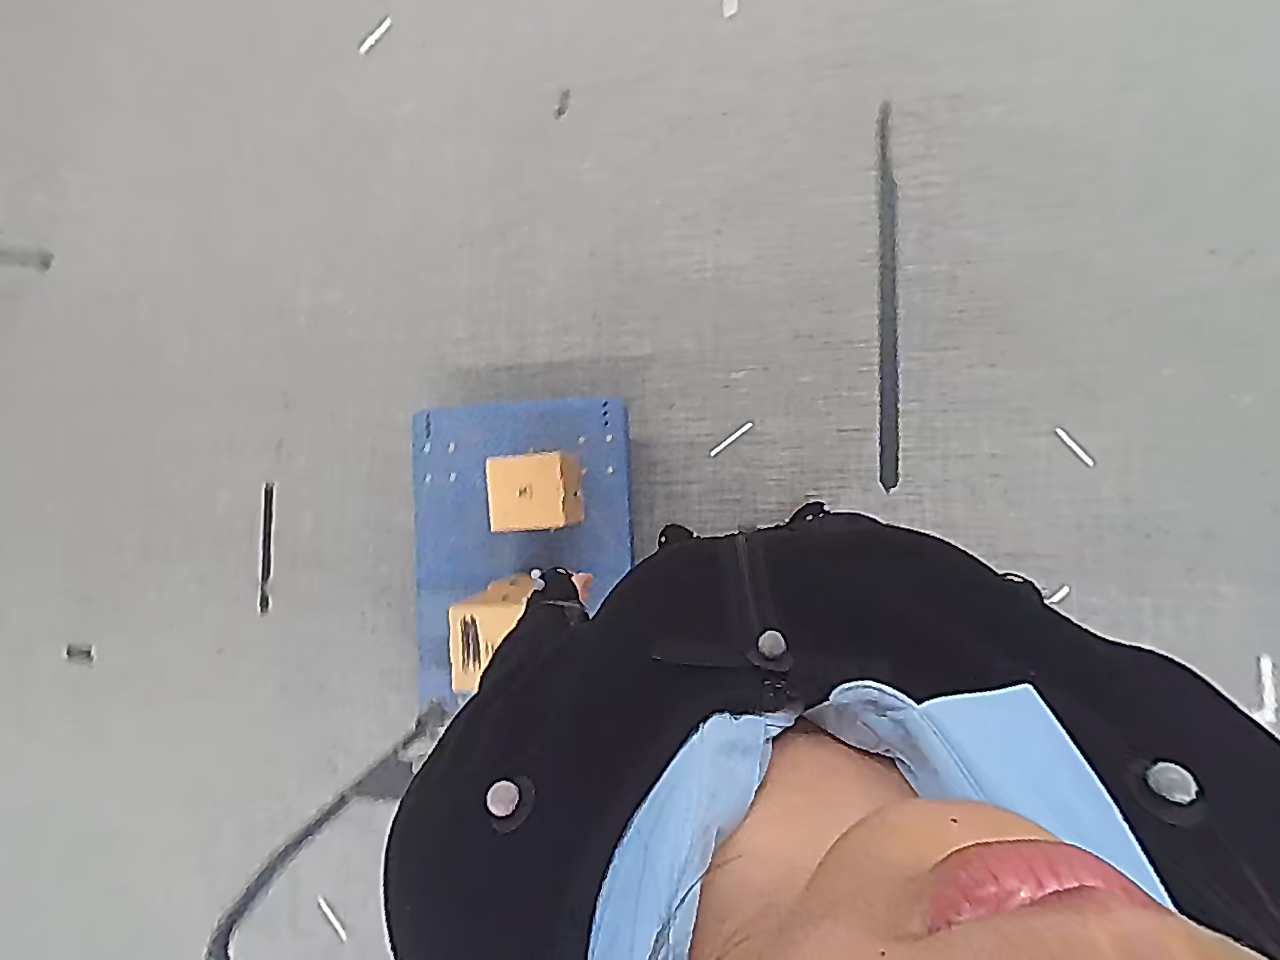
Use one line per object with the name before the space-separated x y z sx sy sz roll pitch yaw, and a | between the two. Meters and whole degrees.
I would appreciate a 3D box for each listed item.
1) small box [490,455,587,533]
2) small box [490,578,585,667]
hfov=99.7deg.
small box | -0.237 0.035 1.290 0.179 0.176 0.168 -6 88 8
small box | -0.237 0.330 1.280 0.179 0.176 0.168 1 89 8
